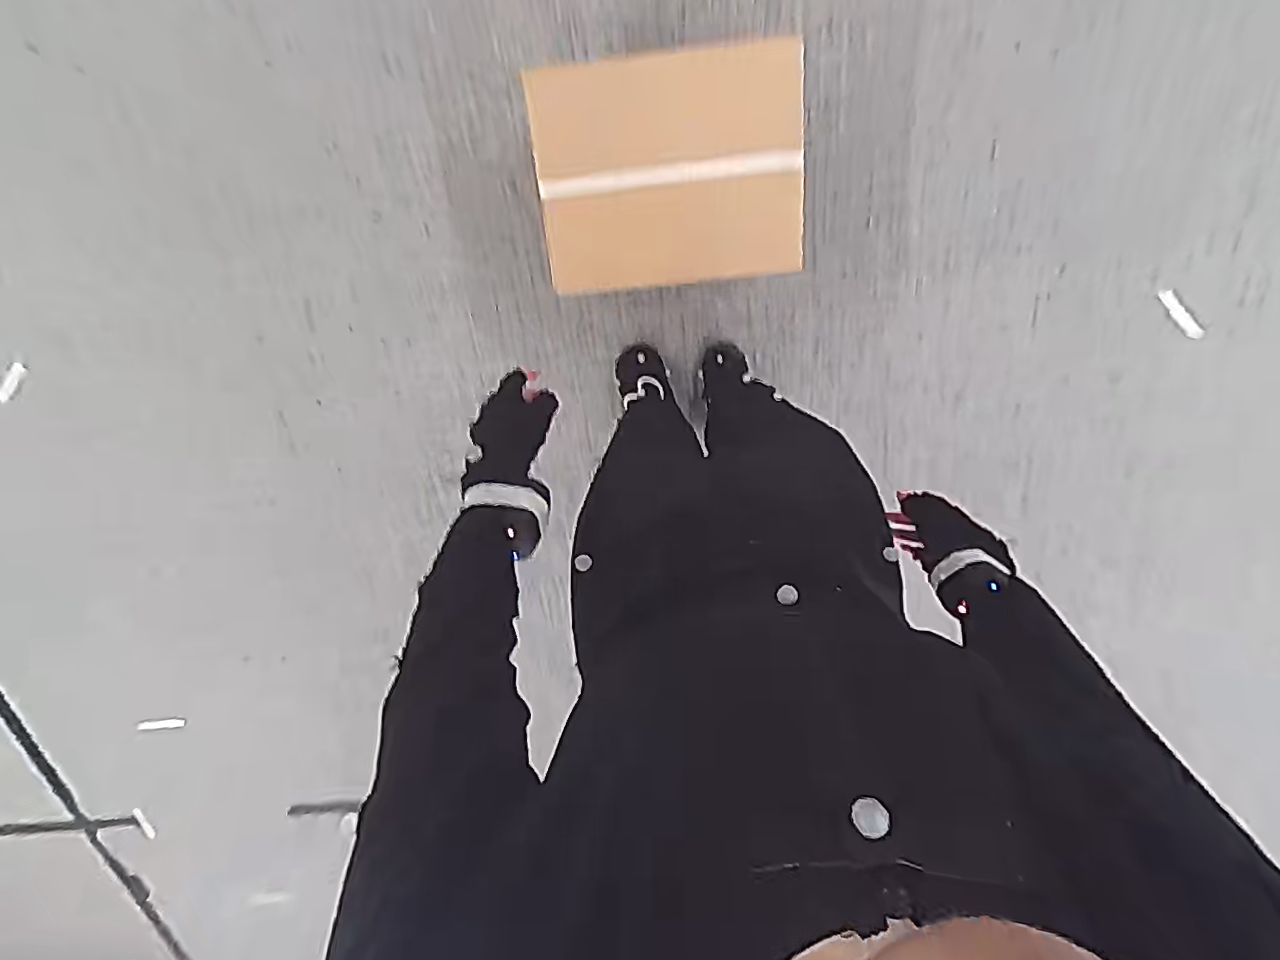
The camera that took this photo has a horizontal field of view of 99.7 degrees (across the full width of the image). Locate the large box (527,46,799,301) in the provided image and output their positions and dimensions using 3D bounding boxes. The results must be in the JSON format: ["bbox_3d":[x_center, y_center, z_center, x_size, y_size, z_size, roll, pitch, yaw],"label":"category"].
[{"bbox_3d":[0.045,-0.515,0.976,0.408,0.320,0.320,-5,112,2],"label":"large box"}]
